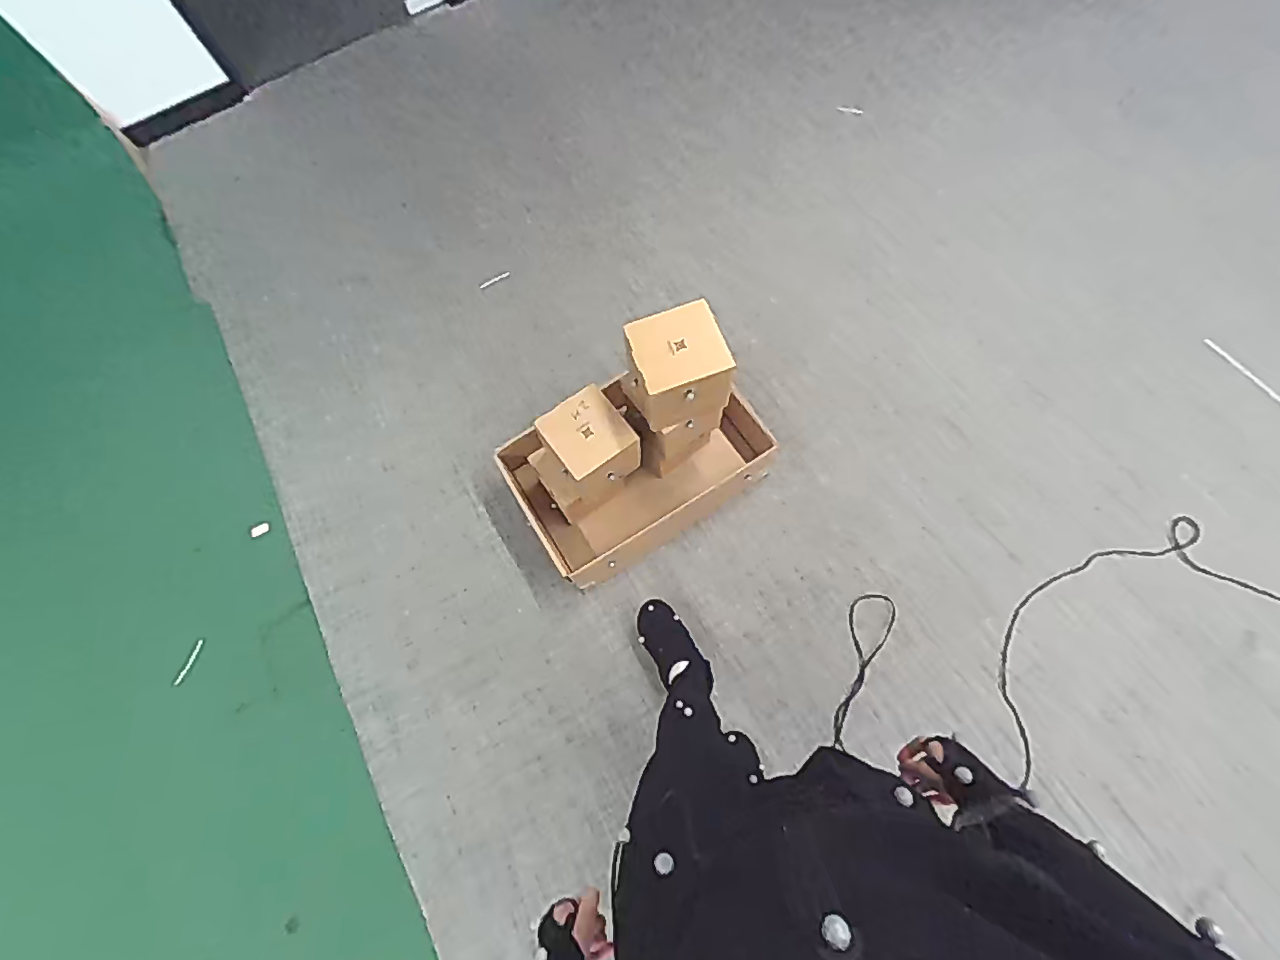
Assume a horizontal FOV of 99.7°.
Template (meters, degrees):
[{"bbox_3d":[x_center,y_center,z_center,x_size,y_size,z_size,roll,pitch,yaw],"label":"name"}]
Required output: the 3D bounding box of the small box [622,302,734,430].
[{"bbox_3d":[0.077,-0.227,1.112,0.179,0.176,0.168,-21,71,-1],"label":"small box"}]

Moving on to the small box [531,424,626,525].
[{"bbox_3d":[-0.151,-0.006,1.401,0.179,0.176,0.168,-35,73,-10],"label":"small box"}]

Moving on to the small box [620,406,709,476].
[{"bbox_3d":[0.074,-0.139,1.429,0.179,0.176,0.168,-39,72,-8],"label":"small box"}]

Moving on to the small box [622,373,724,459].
[{"bbox_3d":[0.079,-0.179,1.268,0.168,0.176,0.179,-35,71,-6],"label":"small box"}]
